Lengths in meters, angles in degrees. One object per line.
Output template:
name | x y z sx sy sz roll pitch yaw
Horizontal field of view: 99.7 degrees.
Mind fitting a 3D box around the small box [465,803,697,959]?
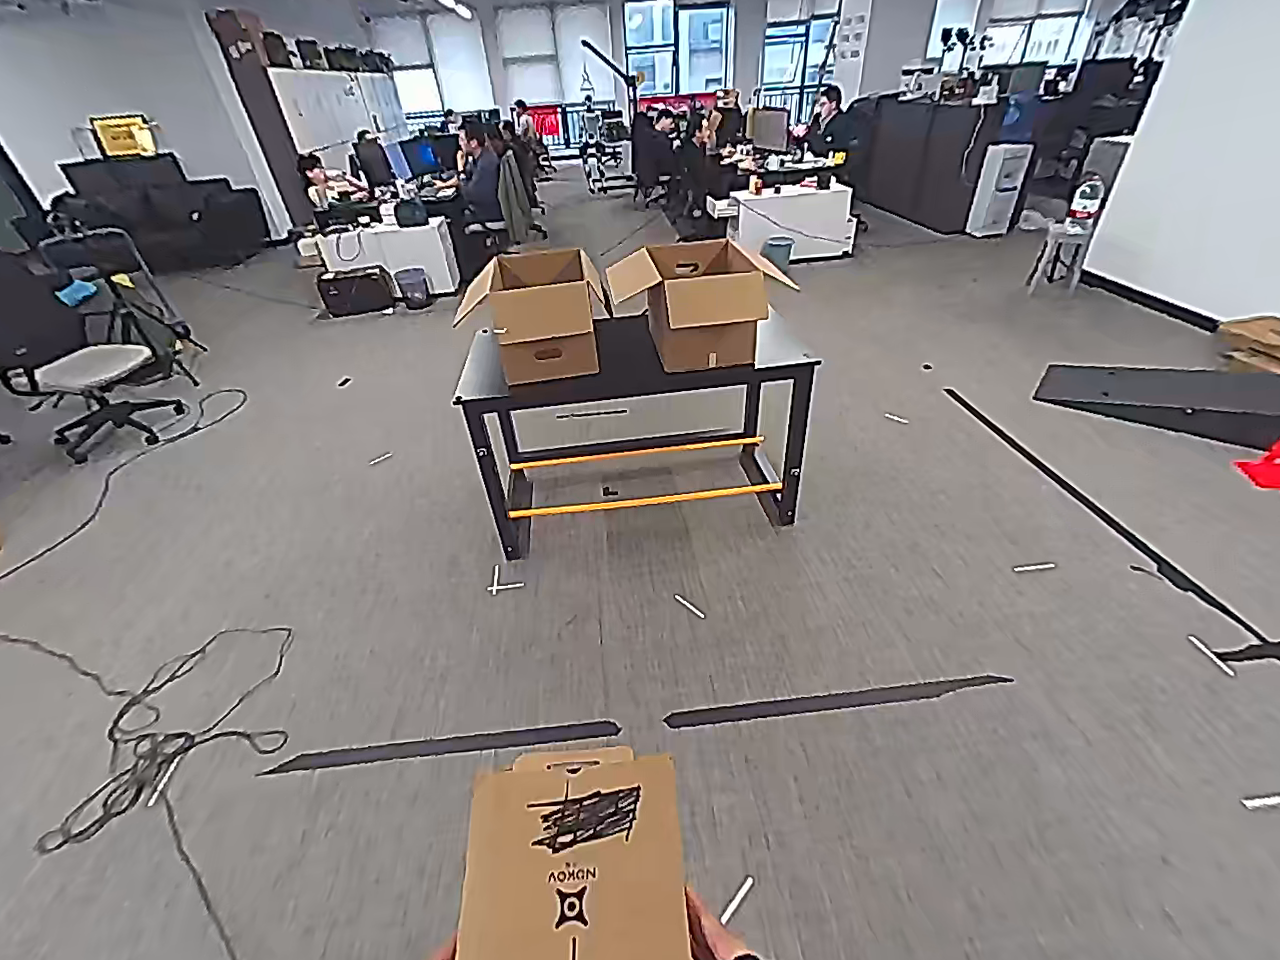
small box | -0.042 0.388 0.443 0.168 0.176 0.179 -4 48 -2
